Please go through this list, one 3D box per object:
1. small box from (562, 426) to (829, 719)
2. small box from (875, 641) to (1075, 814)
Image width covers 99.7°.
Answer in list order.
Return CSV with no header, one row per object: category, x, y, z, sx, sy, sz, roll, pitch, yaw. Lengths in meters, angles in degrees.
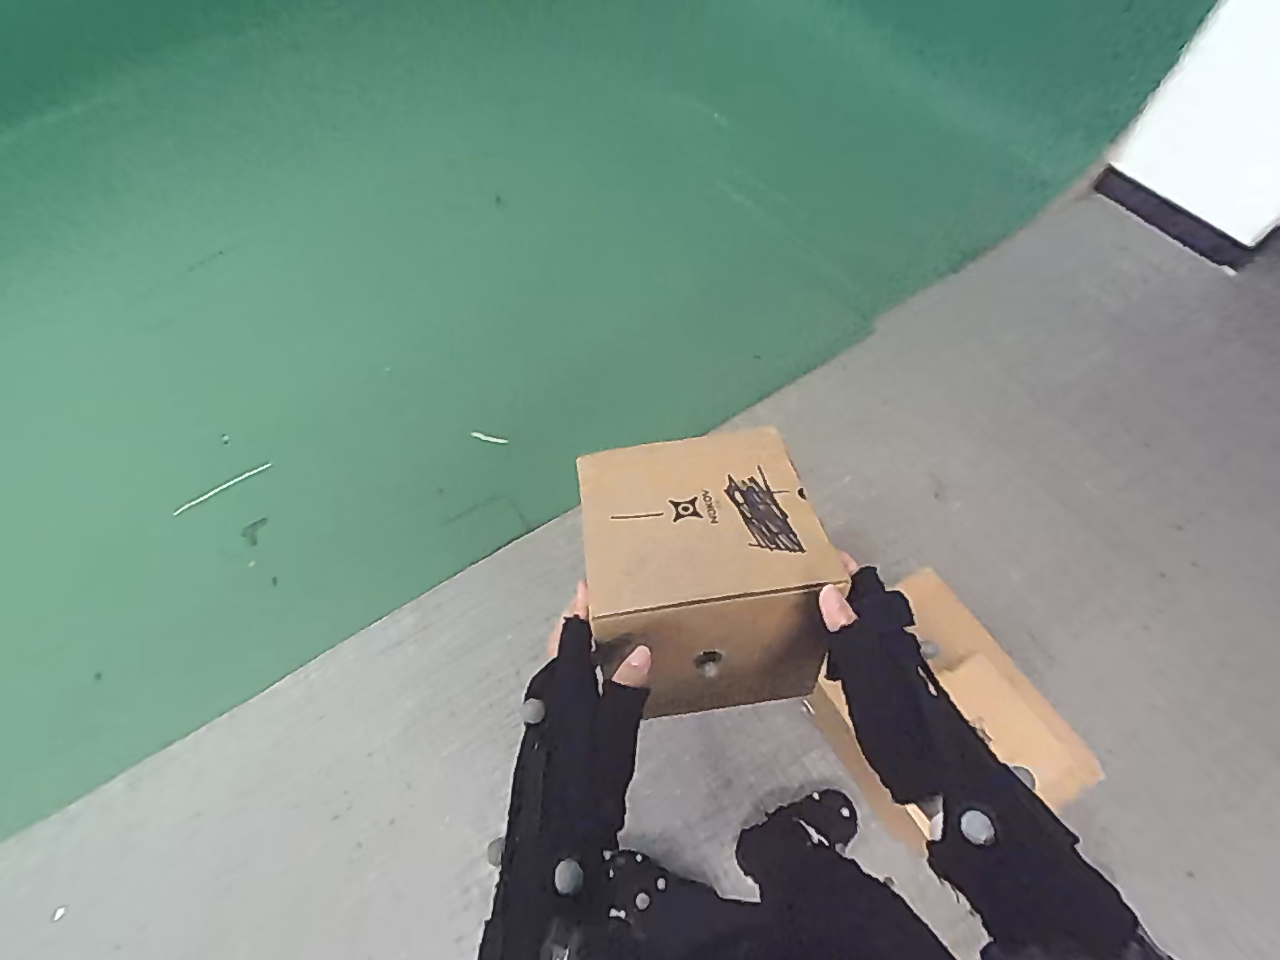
small box,0.037,0.080,0.463,0.179,0.176,0.168,-10,44,-2
small box,0.502,0.379,0.846,0.168,0.176,0.179,-31,67,-4
